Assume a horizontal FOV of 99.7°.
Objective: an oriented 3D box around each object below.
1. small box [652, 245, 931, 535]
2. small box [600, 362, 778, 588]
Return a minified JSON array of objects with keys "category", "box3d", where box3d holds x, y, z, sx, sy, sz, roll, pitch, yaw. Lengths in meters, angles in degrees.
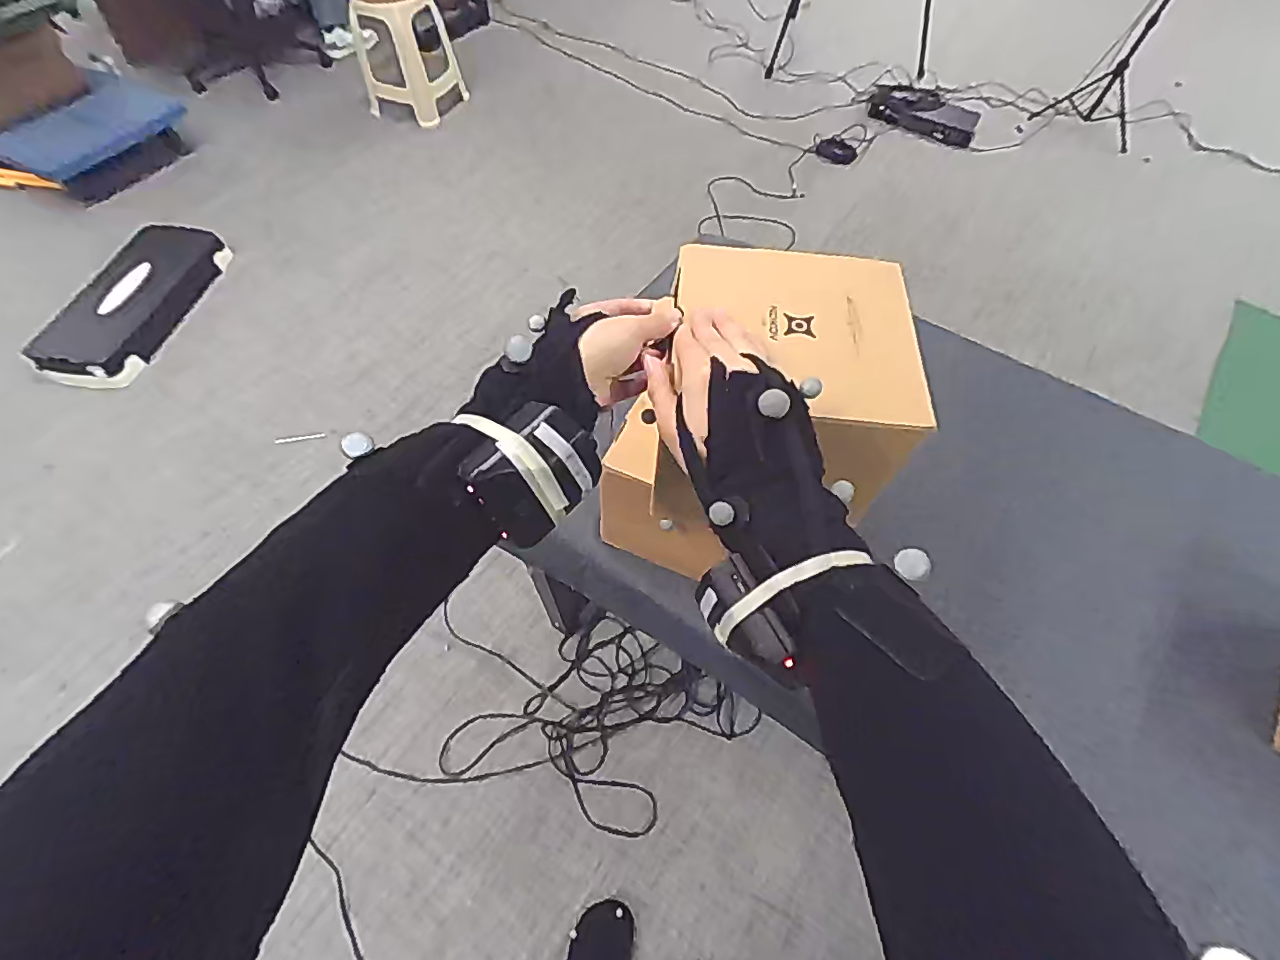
[{"category":"small box","box3d":[0.105,-0.066,0.452,0.179,0.176,0.168,6,59,1]},{"category":"small box","box3d":[0.070,0.000,0.601,0.179,0.176,0.168,22,60,11]}]
